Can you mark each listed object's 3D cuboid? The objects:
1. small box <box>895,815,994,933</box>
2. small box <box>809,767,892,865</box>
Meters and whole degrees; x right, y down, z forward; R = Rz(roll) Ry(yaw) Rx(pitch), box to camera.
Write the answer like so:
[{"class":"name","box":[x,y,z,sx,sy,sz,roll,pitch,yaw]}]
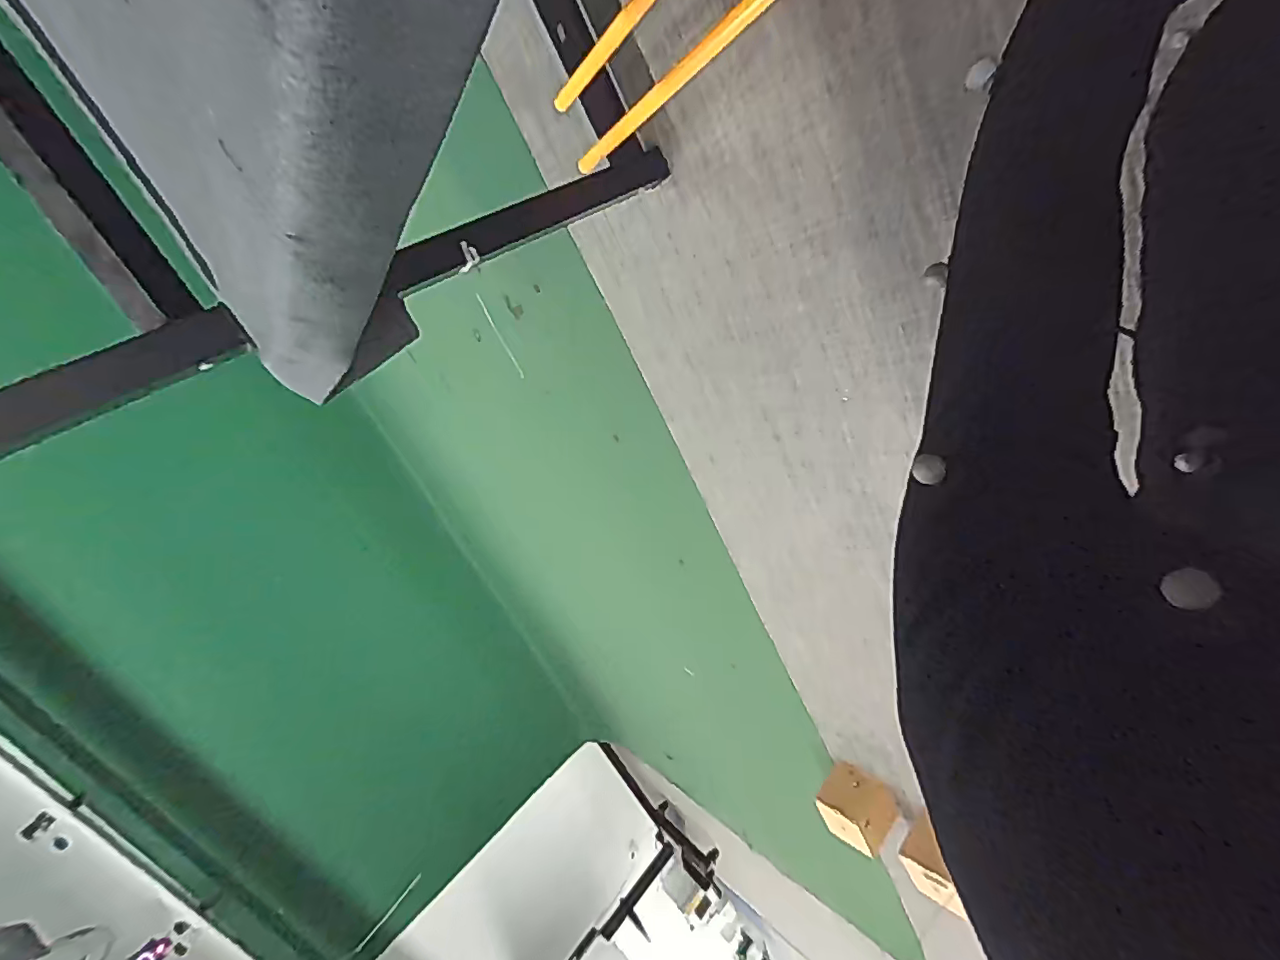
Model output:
[{"class":"small box","box":[0.862,1.100,1.528,0.168,0.176,0.179,-5,119,57]},{"class":"small box","box":[0.692,1.089,1.766,0.168,0.176,0.179,0,123,54]}]
